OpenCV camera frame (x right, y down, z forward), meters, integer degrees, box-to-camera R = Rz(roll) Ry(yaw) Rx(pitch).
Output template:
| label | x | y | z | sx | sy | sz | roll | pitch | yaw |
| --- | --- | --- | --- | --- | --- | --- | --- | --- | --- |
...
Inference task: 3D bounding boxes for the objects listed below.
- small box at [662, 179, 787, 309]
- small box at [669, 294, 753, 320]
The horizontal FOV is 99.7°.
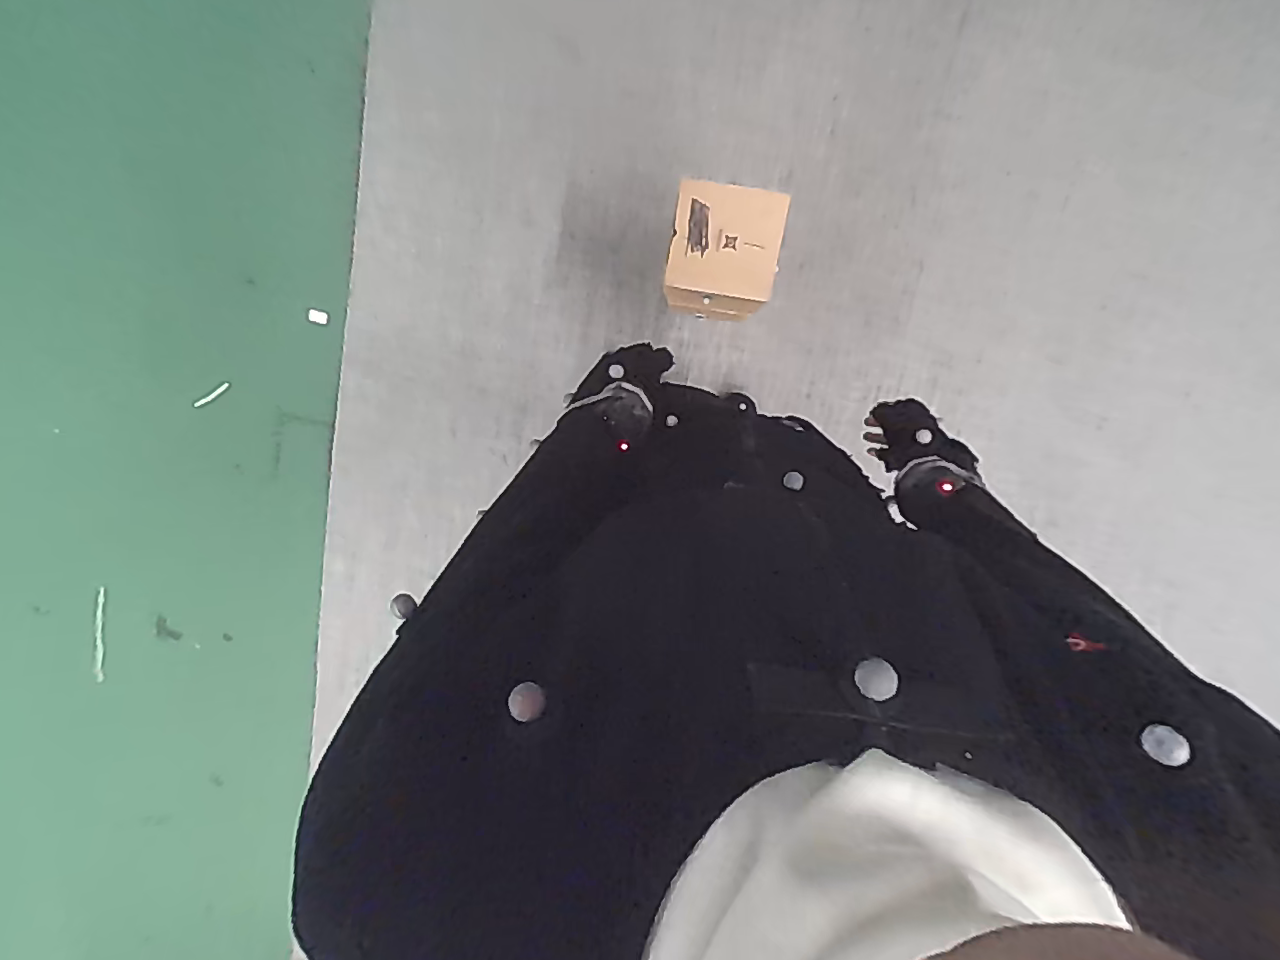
| label | x | y | z | sx | sy | sz | roll | pitch | yaw |
| --- | --- | --- | --- | --- | --- | --- | --- | --- | --- |
| small box | 0.142 | -0.403 | 0.953 | 0.179 | 0.176 | 0.168 | 11 | 102 | 3 |
| small box | 0.154 | -0.432 | 1.097 | 0.168 | 0.176 | 0.179 | 10 | 103 | 3 |
